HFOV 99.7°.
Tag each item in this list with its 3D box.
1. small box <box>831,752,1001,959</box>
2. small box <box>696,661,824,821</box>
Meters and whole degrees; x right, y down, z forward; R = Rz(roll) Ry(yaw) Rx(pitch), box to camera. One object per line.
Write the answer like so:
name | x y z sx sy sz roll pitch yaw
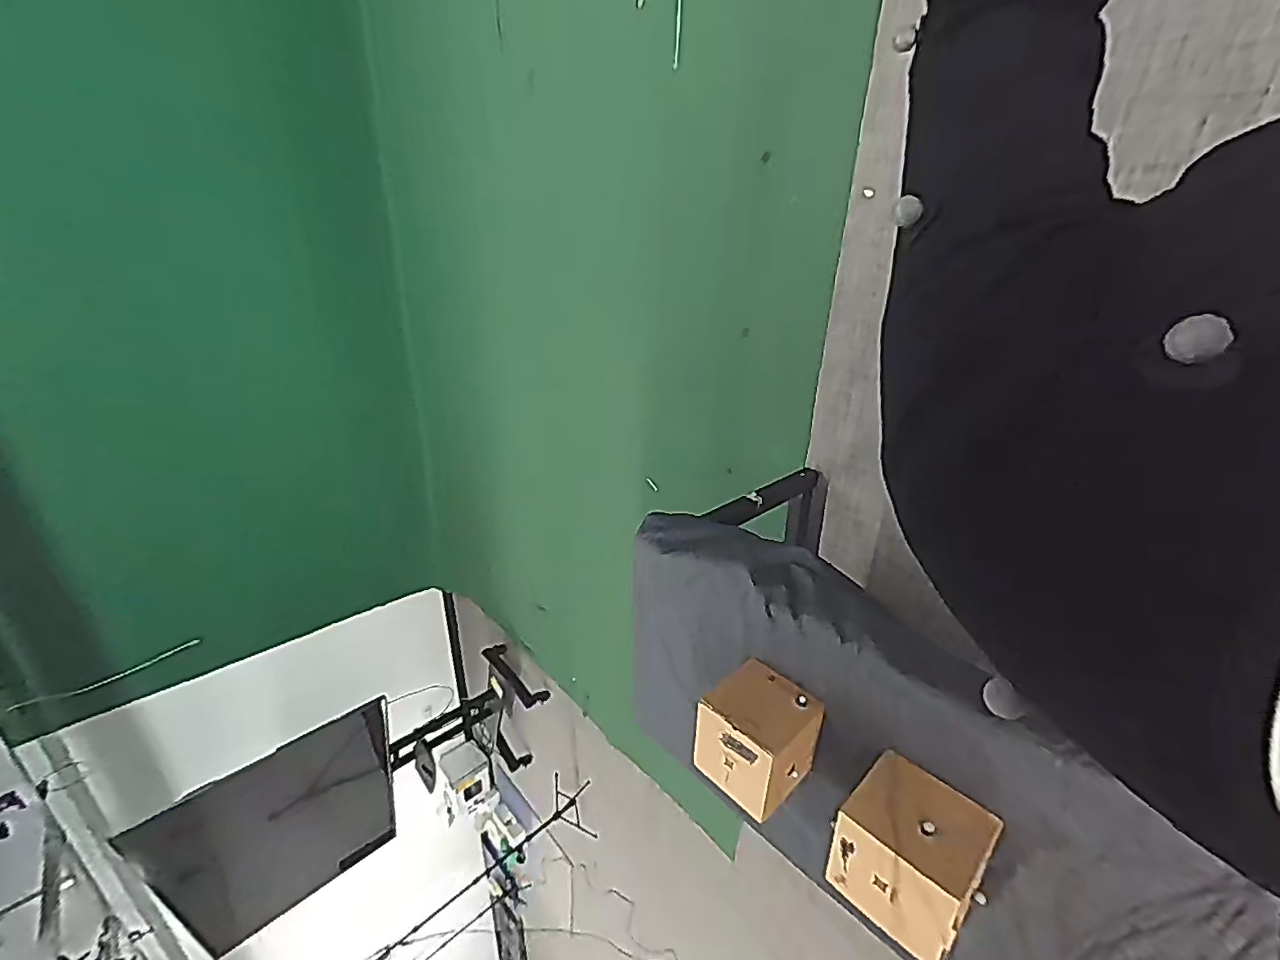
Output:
small box | 0.425 0.567 0.835 0.179 0.176 0.168 22 121 42
small box | 0.228 0.481 1.024 0.168 0.176 0.179 25 124 41
